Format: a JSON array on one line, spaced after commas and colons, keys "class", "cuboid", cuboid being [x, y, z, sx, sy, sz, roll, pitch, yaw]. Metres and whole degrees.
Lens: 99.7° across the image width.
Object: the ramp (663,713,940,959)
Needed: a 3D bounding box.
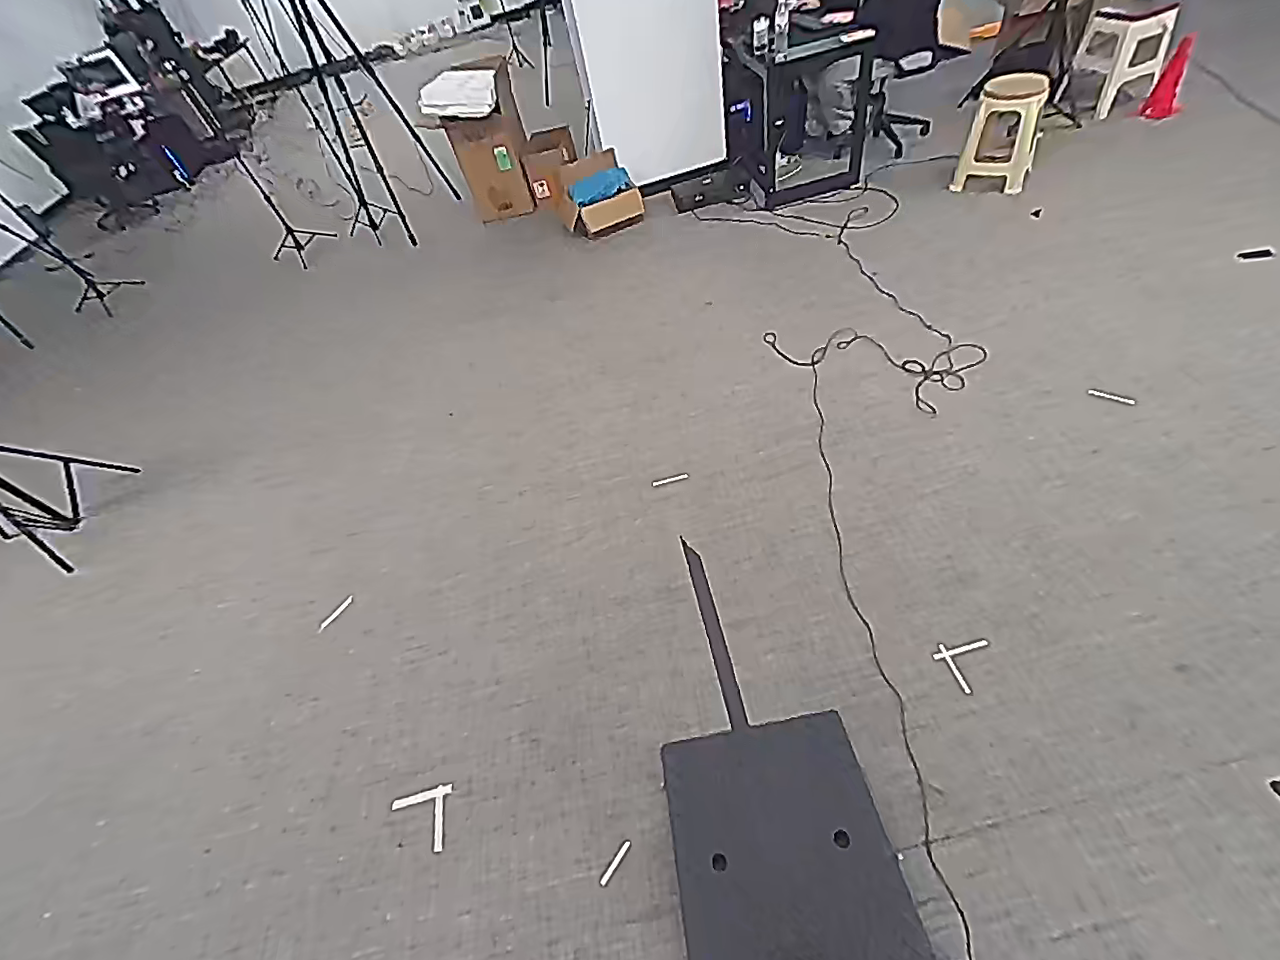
[{"class": "ramp", "cuboid": [0.346, 0.988, 1.077, 0.509, 0.206, 0.991, -15, 48, 3]}]
